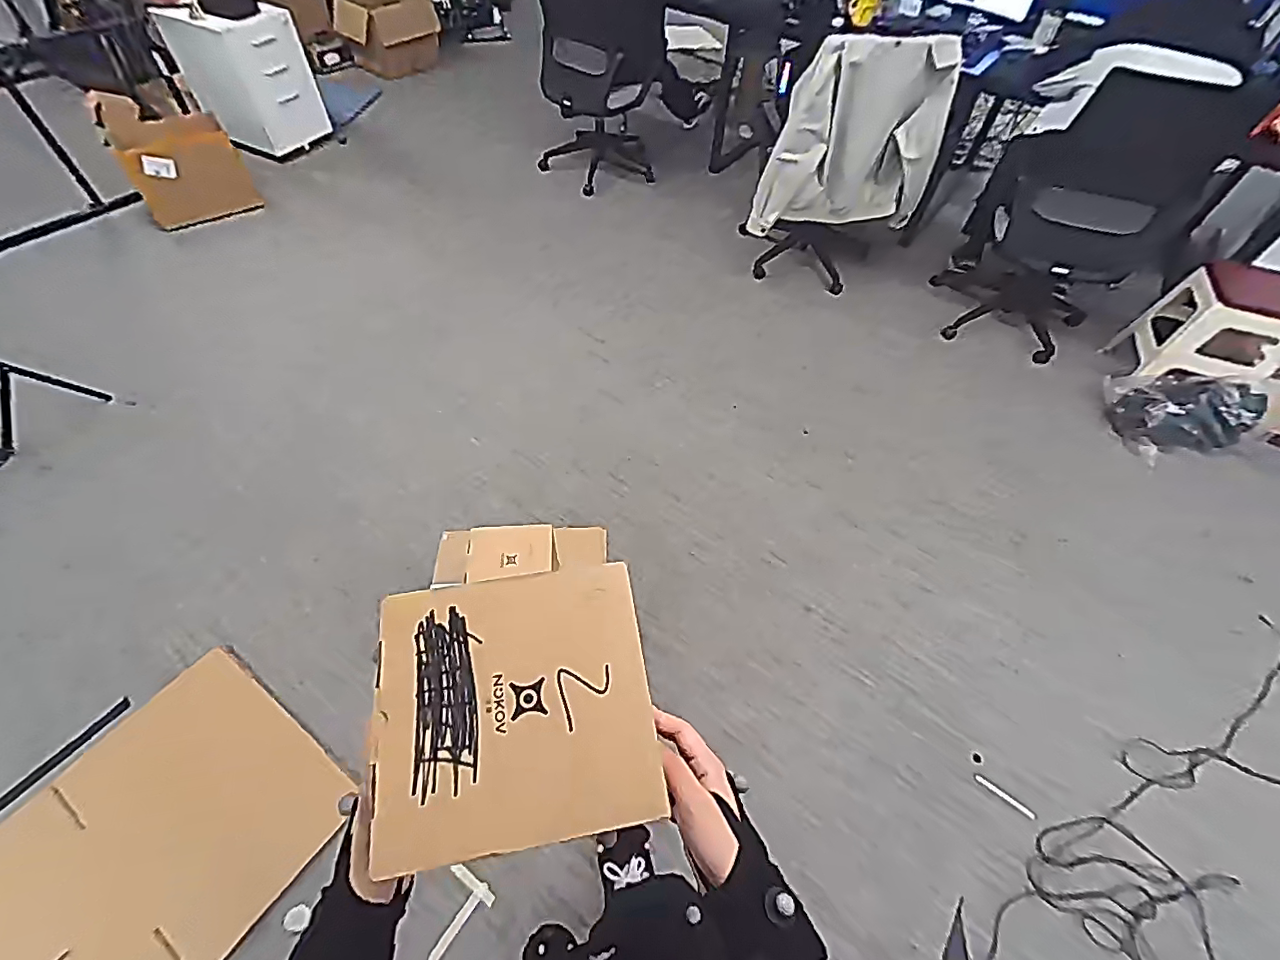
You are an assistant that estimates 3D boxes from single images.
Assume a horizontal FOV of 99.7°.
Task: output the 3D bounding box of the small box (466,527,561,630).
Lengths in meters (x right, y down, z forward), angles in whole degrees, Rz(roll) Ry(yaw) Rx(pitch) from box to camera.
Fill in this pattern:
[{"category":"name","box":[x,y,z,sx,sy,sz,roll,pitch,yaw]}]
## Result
[{"category":"small box","box":[-0.266,0.219,1.178,0.179,0.176,0.168,-3,55,-6]}]
